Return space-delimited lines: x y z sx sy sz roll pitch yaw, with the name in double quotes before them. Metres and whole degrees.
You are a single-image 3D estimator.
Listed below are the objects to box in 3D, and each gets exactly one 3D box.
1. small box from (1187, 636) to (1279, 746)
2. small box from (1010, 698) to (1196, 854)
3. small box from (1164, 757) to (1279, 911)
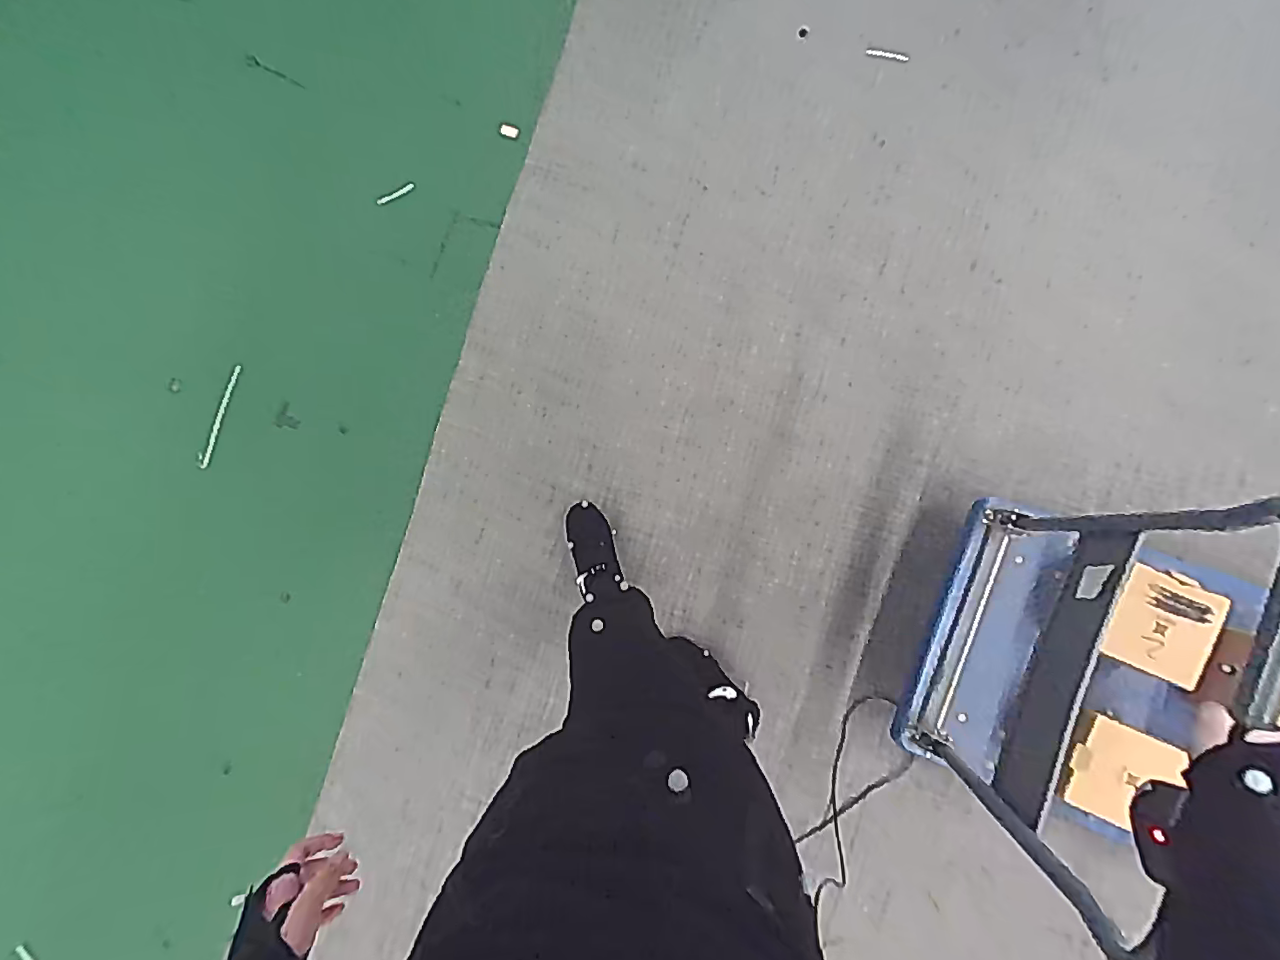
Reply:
"small box" 1.168 0.397 0.980 0.179 0.176 0.168 18 88 8
"small box" 0.849 0.536 1.010 0.179 0.176 0.168 23 88 9
"small box" 1.074 0.633 0.970 0.179 0.176 0.168 20 87 9
